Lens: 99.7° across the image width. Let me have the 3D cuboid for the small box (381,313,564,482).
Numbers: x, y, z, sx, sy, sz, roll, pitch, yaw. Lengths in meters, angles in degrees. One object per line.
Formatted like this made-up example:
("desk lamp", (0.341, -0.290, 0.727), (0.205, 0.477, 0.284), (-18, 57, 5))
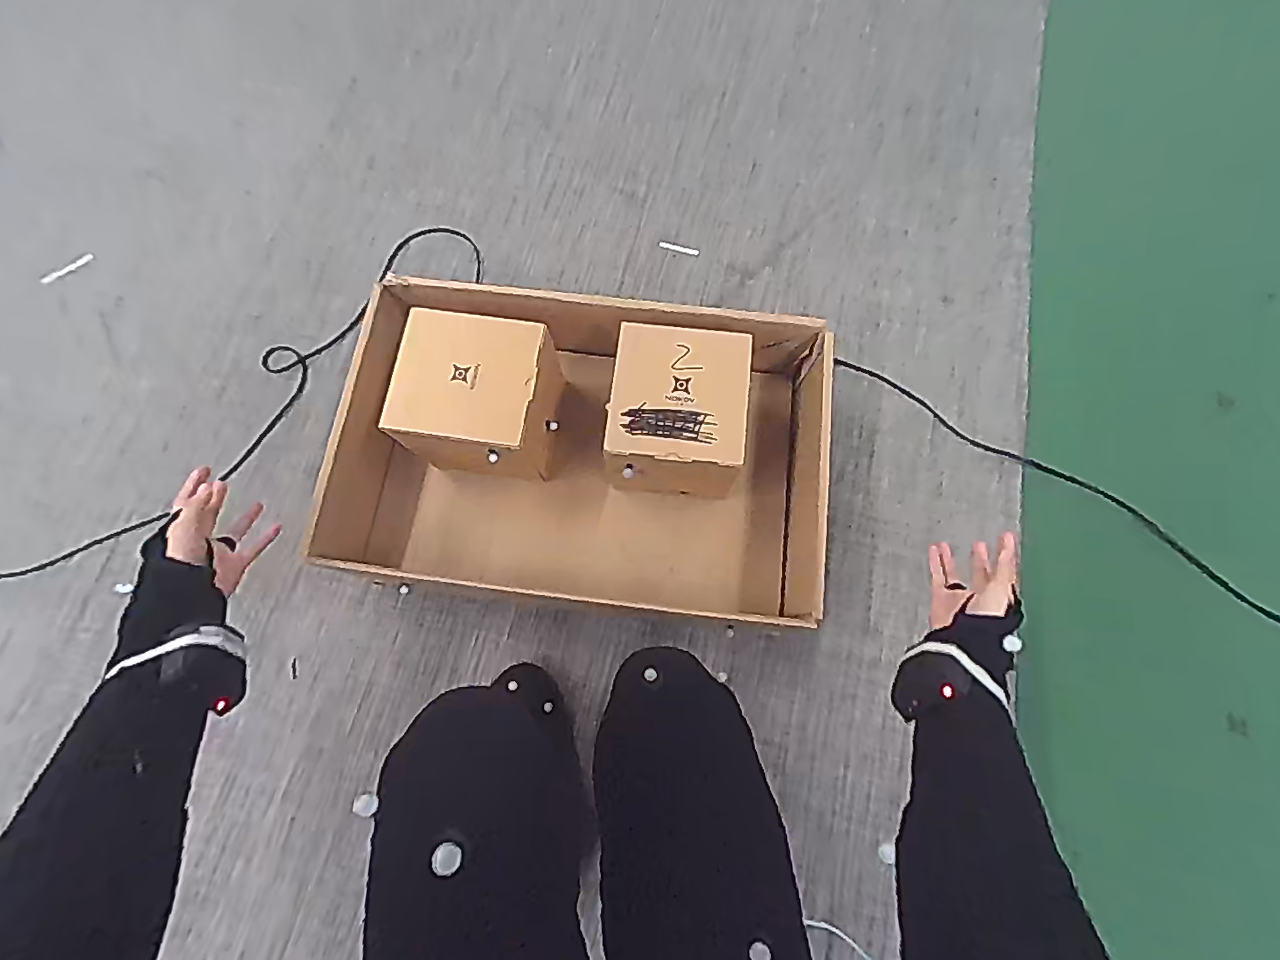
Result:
("small box", (-0.213, -0.102, 0.740), (0.179, 0.176, 0.168), (8, 76, 2))
